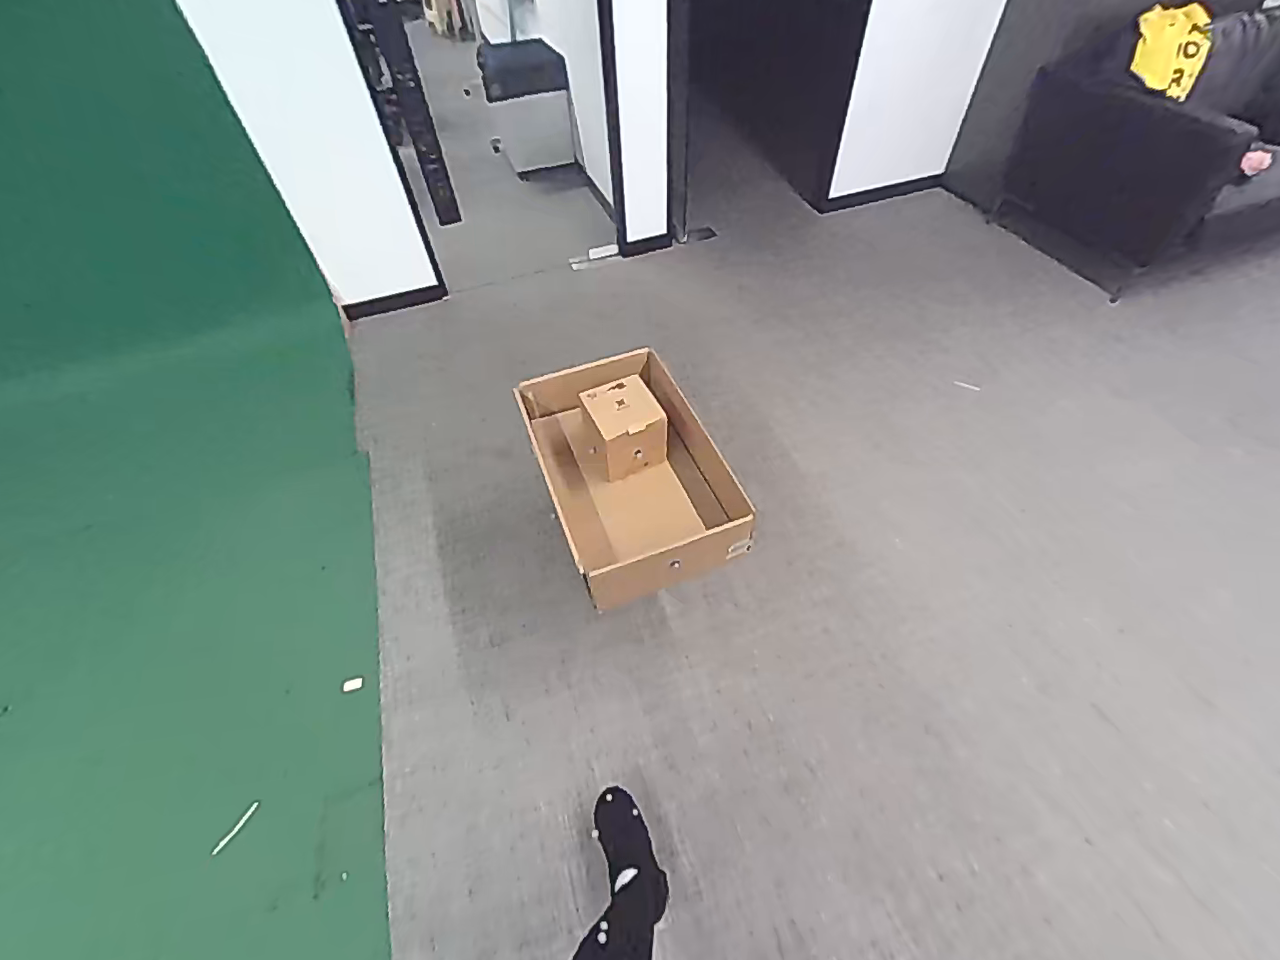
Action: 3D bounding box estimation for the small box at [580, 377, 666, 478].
[{"bbox_3d":[-0.042,-0.126,1.384,0.168,0.176,0.179,-20,56,-14],"label":"small box"}]
